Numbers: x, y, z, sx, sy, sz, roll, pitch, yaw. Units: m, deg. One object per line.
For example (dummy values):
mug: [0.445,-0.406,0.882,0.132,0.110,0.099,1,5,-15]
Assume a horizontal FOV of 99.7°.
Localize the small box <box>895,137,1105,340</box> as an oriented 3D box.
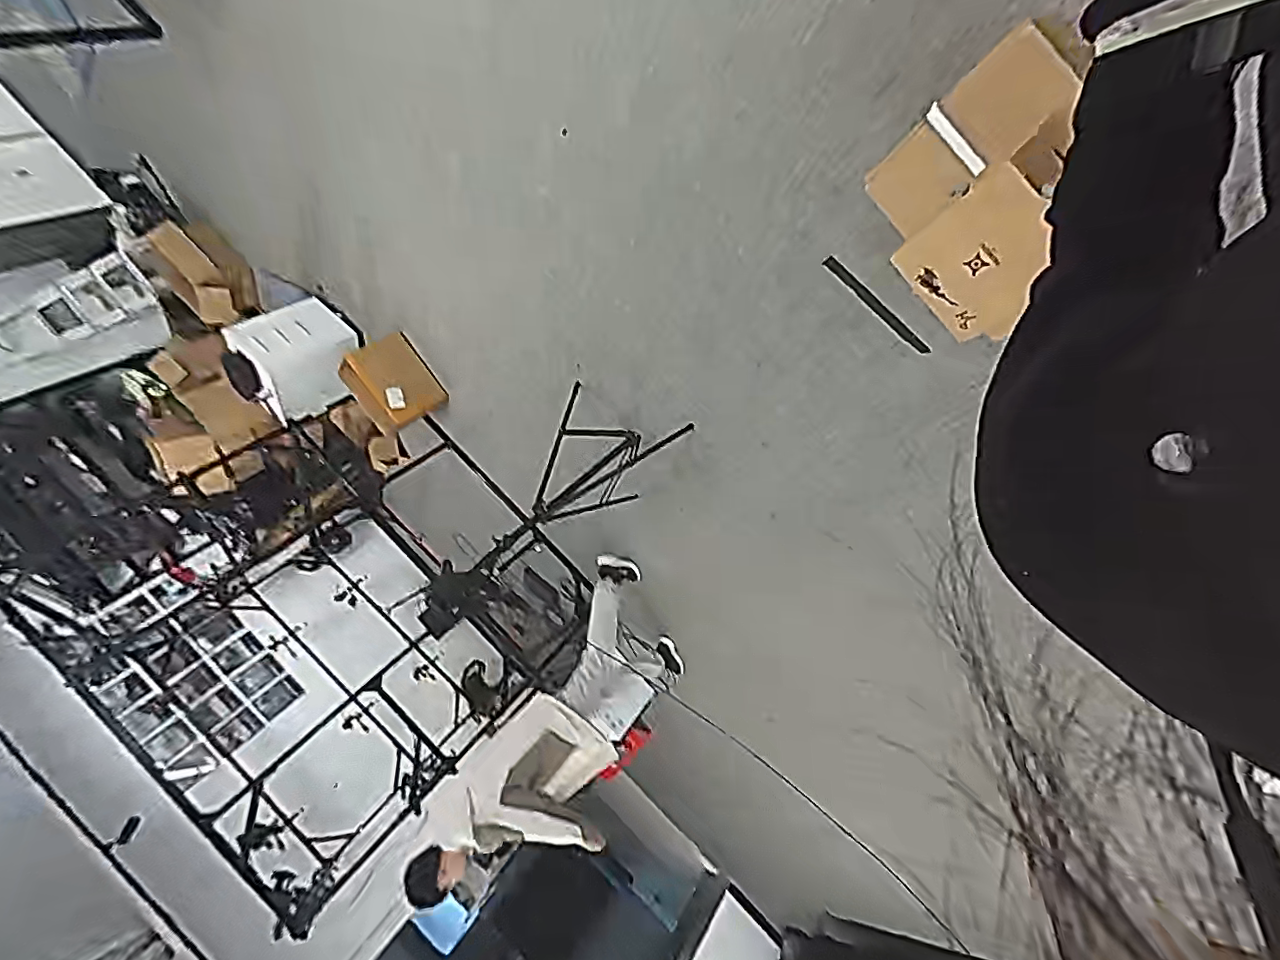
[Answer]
small box: [0.498,-0.335,0.750,0.168,0.176,0.179,49,143,-2]
